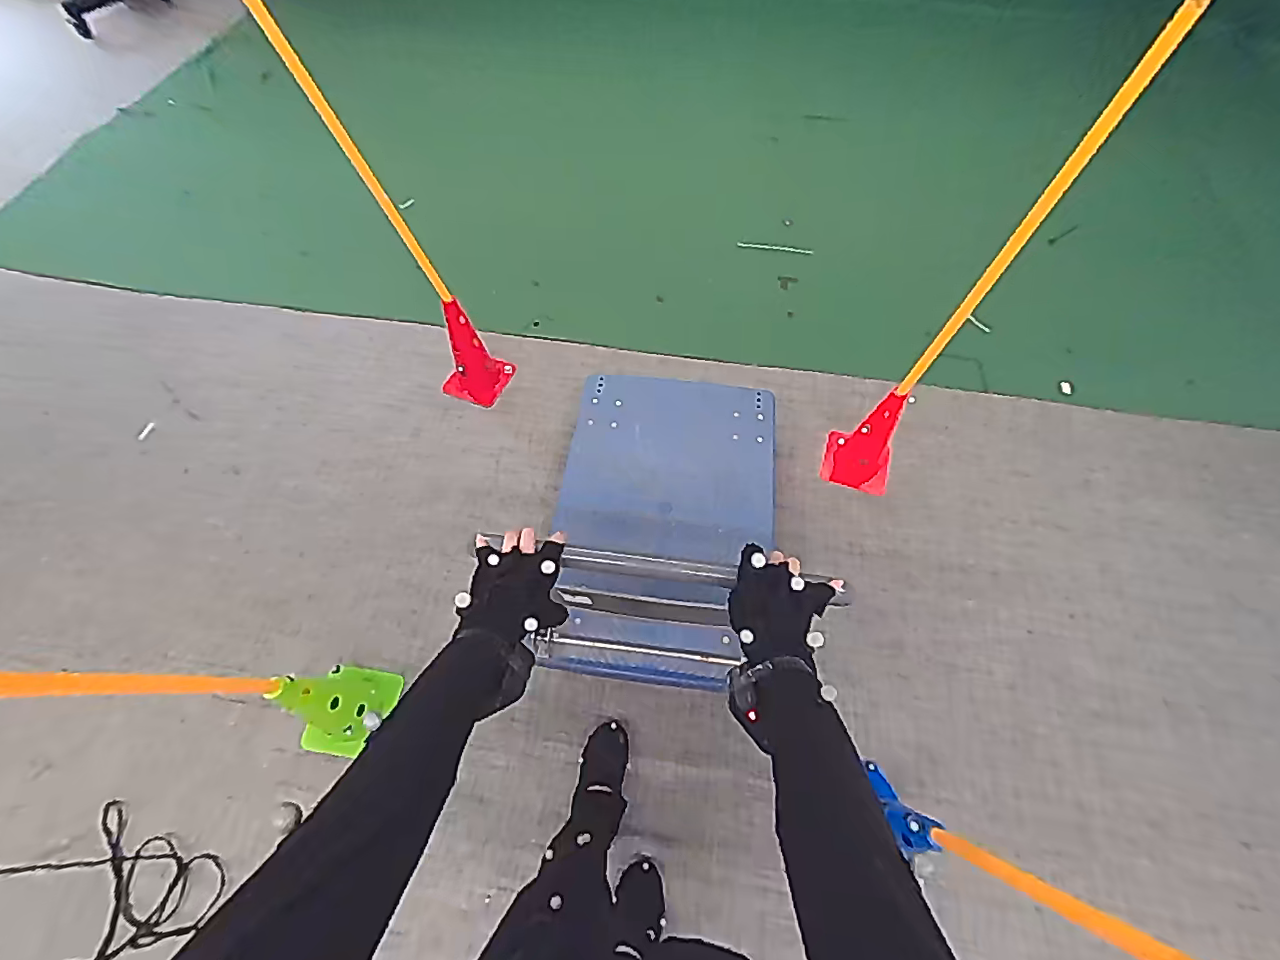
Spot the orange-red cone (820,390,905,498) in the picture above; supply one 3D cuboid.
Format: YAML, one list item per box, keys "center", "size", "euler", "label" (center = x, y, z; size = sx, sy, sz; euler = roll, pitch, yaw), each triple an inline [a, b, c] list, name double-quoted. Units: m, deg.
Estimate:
- center: [0.679, -0.130, 1.565]
  size: [0.198, 0.360, 0.199]
  euler: [17, 62, 11]
  label: "orange-red cone"
